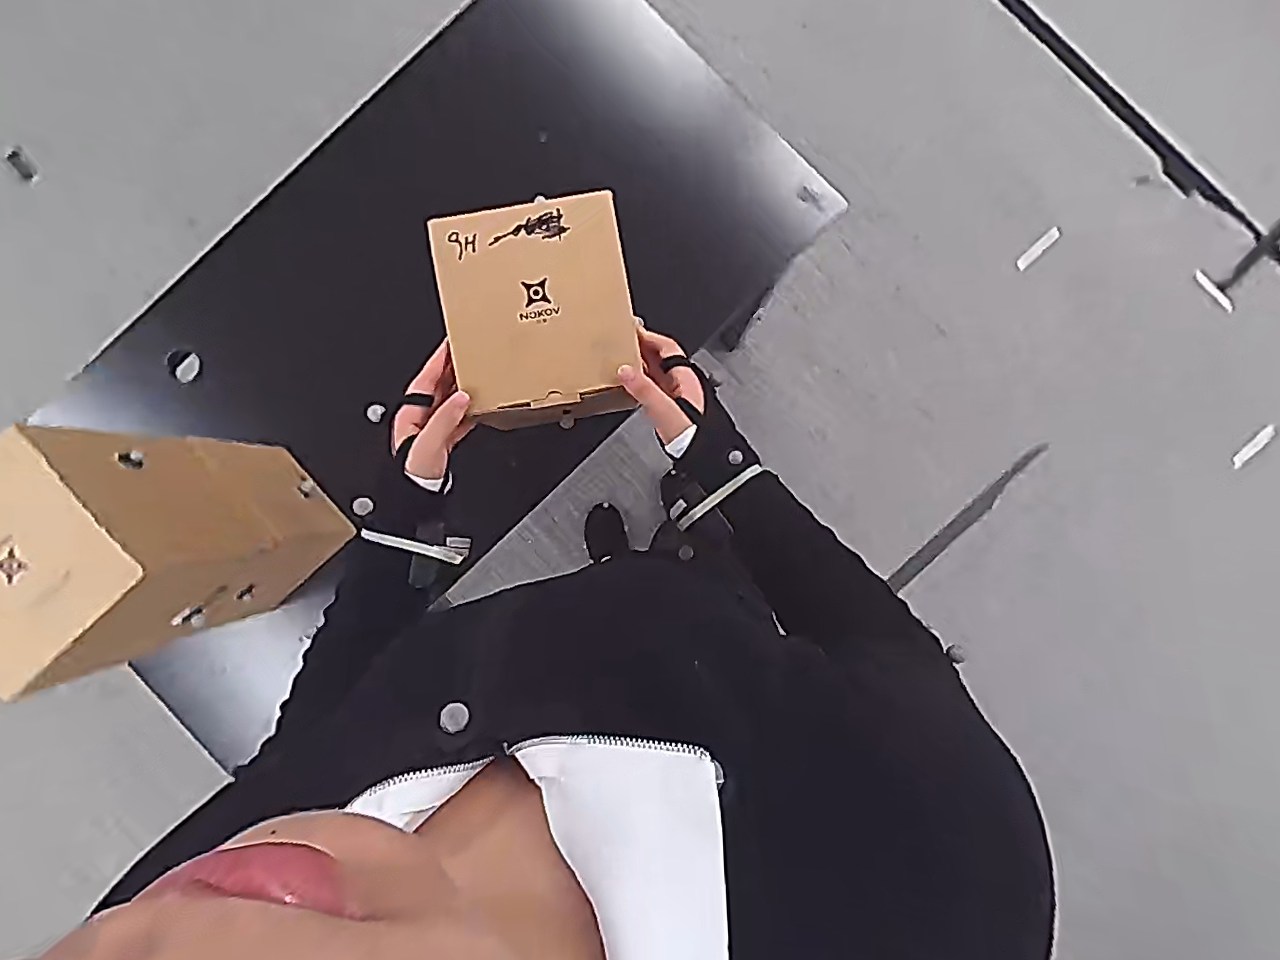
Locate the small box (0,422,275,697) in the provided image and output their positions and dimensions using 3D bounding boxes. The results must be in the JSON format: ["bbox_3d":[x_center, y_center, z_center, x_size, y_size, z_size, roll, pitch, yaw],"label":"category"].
[{"bbox_3d":[-0.525,0.068,0.533,0.168,0.176,0.179,-44,89,1],"label":"small box"}]

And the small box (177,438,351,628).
[{"bbox_3d":[-0.523,0.071,0.696,0.179,0.176,0.168,-43,89,-2],"label":"small box"}]
